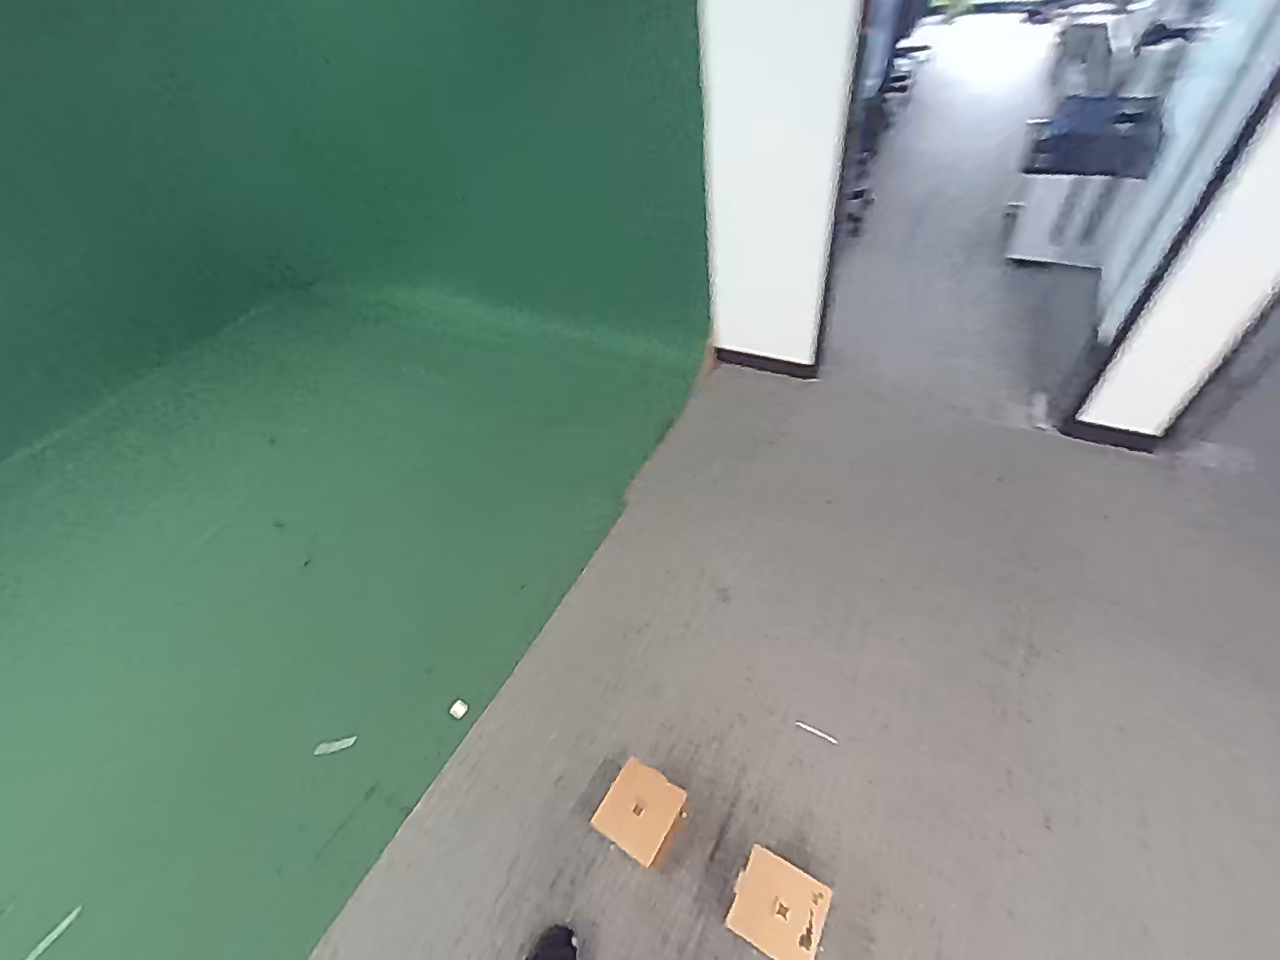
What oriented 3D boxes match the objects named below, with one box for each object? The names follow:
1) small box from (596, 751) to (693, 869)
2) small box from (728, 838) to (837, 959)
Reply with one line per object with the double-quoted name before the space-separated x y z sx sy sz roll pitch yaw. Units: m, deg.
"small box" 0.020 0.813 1.327 0.168 0.176 0.179 23 55 27
"small box" 0.305 0.925 1.173 0.179 0.176 0.168 20 55 26
